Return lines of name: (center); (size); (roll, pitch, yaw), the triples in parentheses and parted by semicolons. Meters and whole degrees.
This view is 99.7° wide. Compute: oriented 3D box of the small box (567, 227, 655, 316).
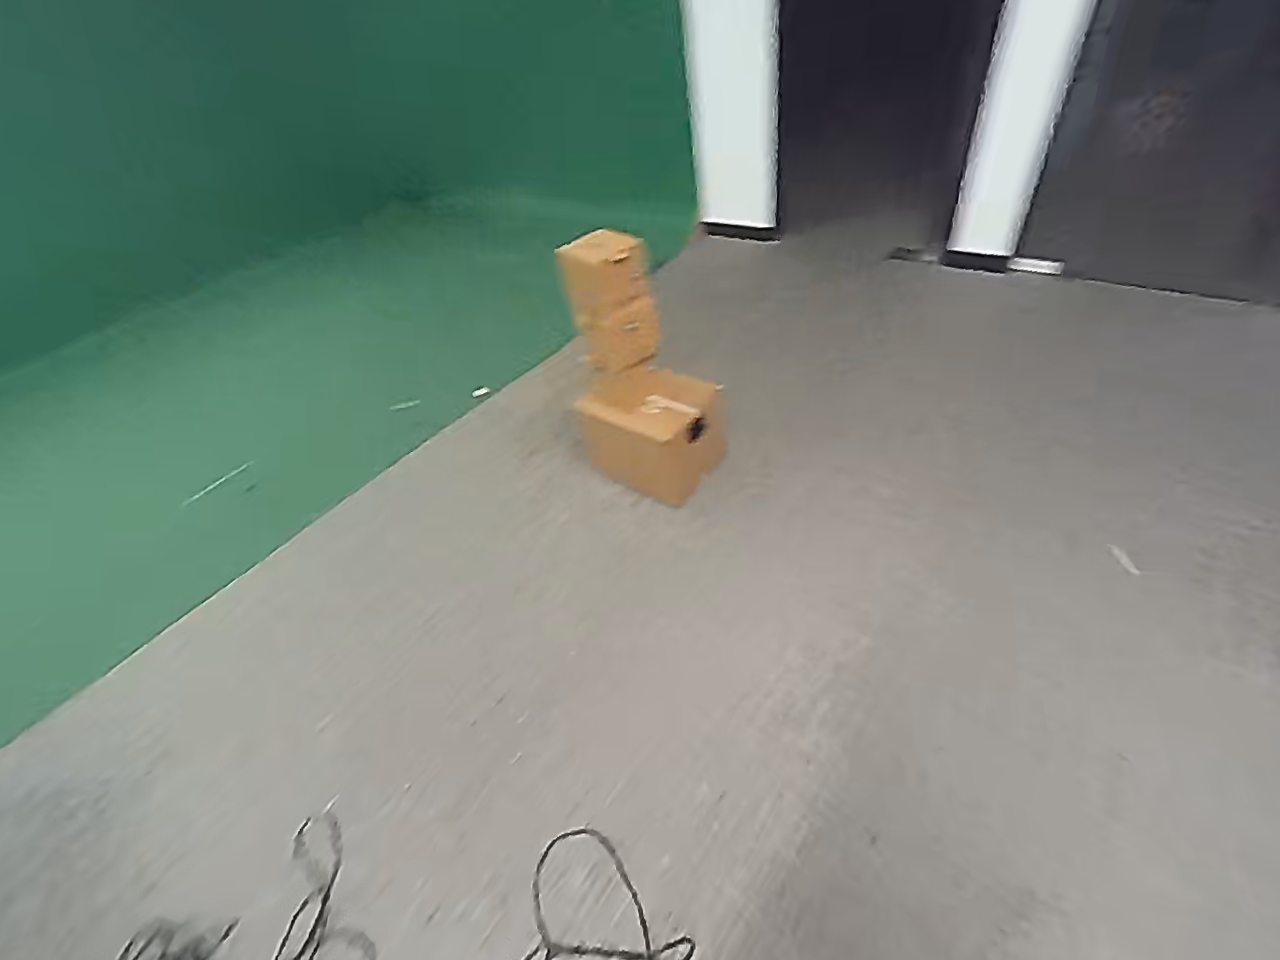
small box: (-0.077, -0.583, 1.525); (0.168, 0.176, 0.179); (-35, 48, -22)

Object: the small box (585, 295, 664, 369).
small box: (-0.041, -0.464, 1.630); (0.179, 0.176, 0.168); (-33, 48, -19)

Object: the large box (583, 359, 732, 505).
large box: (0.072, -0.176, 1.899); (0.408, 0.320, 0.320); (26, 57, 31)
